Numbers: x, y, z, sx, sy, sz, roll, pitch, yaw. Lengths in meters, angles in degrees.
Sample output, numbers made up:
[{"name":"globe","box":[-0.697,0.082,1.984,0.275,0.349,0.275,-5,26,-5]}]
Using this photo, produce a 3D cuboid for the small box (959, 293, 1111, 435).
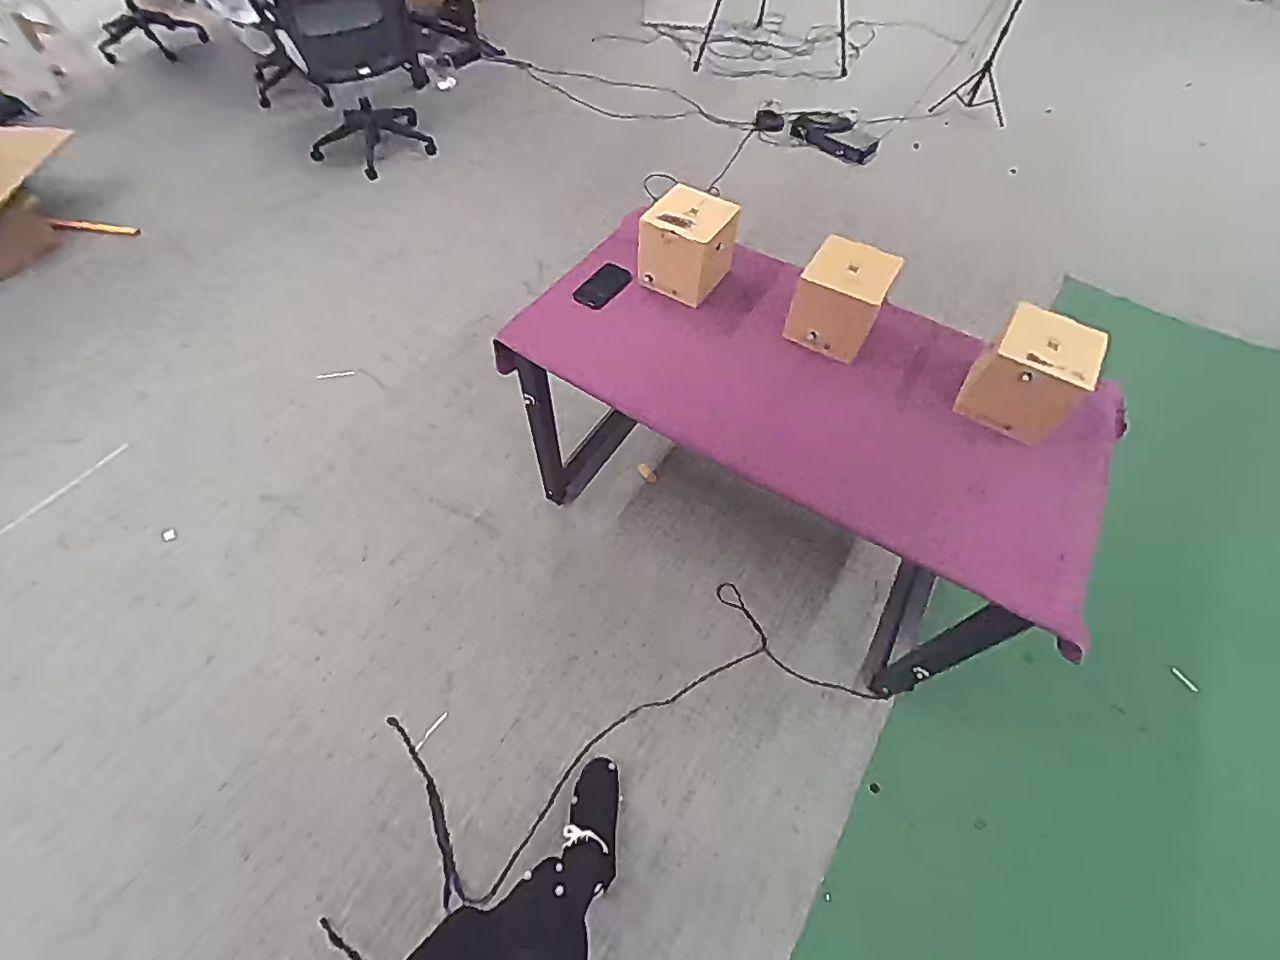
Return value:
[{"name":"small box","box":[0.758,-0.223,1.052,0.168,0.176,0.179,29,62,17]}]

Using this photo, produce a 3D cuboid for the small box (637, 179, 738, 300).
[{"name":"small box","box":[0.106,-0.549,1.246,0.168,0.176,0.179,28,61,15]}]

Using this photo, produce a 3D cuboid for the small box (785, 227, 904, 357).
[{"name":"small box","box":[0.430,-0.401,1.161,0.168,0.176,0.179,28,62,16]}]
